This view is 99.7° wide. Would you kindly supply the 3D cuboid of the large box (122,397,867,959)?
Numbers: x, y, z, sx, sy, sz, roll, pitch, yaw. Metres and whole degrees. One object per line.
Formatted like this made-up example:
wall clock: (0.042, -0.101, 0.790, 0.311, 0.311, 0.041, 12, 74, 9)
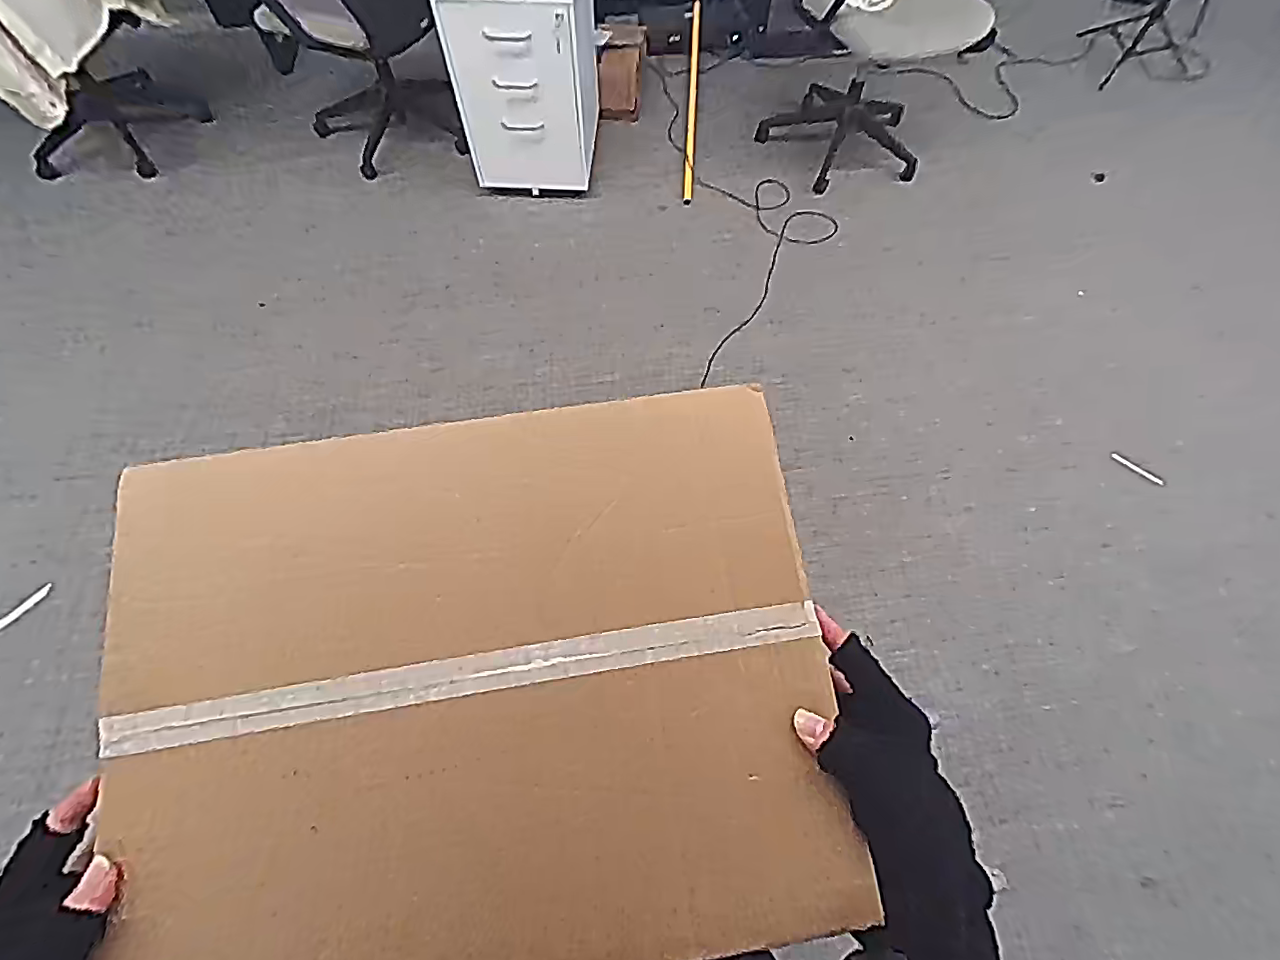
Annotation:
large box: (-0.096, 0.157, 0.466, 0.408, 0.320, 0.320, -8, 76, -3)
